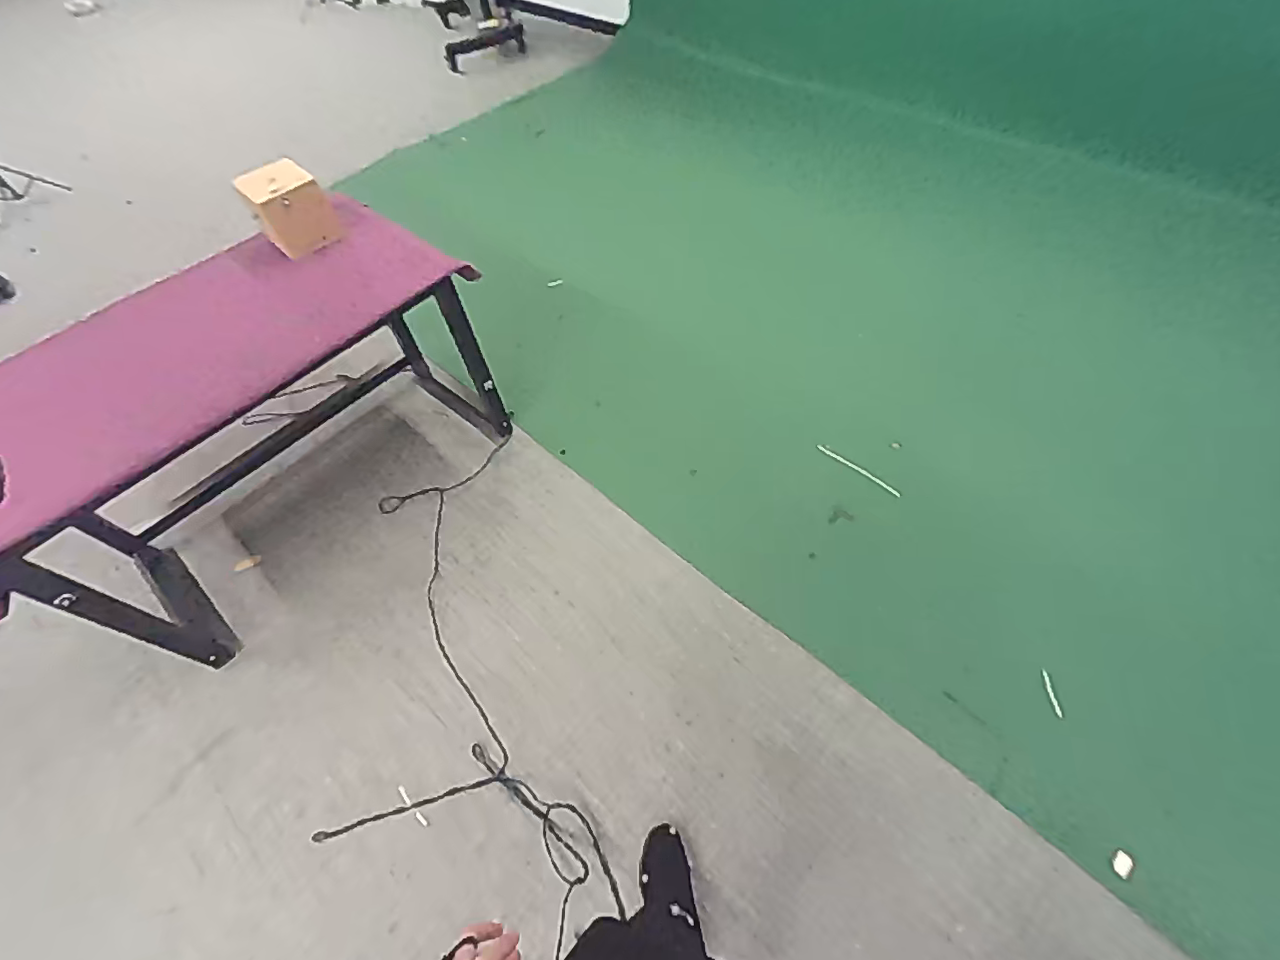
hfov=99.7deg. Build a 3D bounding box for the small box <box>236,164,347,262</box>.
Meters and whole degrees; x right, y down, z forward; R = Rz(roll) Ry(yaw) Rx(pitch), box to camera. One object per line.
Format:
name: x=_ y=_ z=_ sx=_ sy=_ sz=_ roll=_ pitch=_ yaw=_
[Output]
small box: x=-0.969 y=-0.744 z=1.512 sx=0.179 sy=0.176 sz=0.168 roll=38 pitch=67 yaw=26
